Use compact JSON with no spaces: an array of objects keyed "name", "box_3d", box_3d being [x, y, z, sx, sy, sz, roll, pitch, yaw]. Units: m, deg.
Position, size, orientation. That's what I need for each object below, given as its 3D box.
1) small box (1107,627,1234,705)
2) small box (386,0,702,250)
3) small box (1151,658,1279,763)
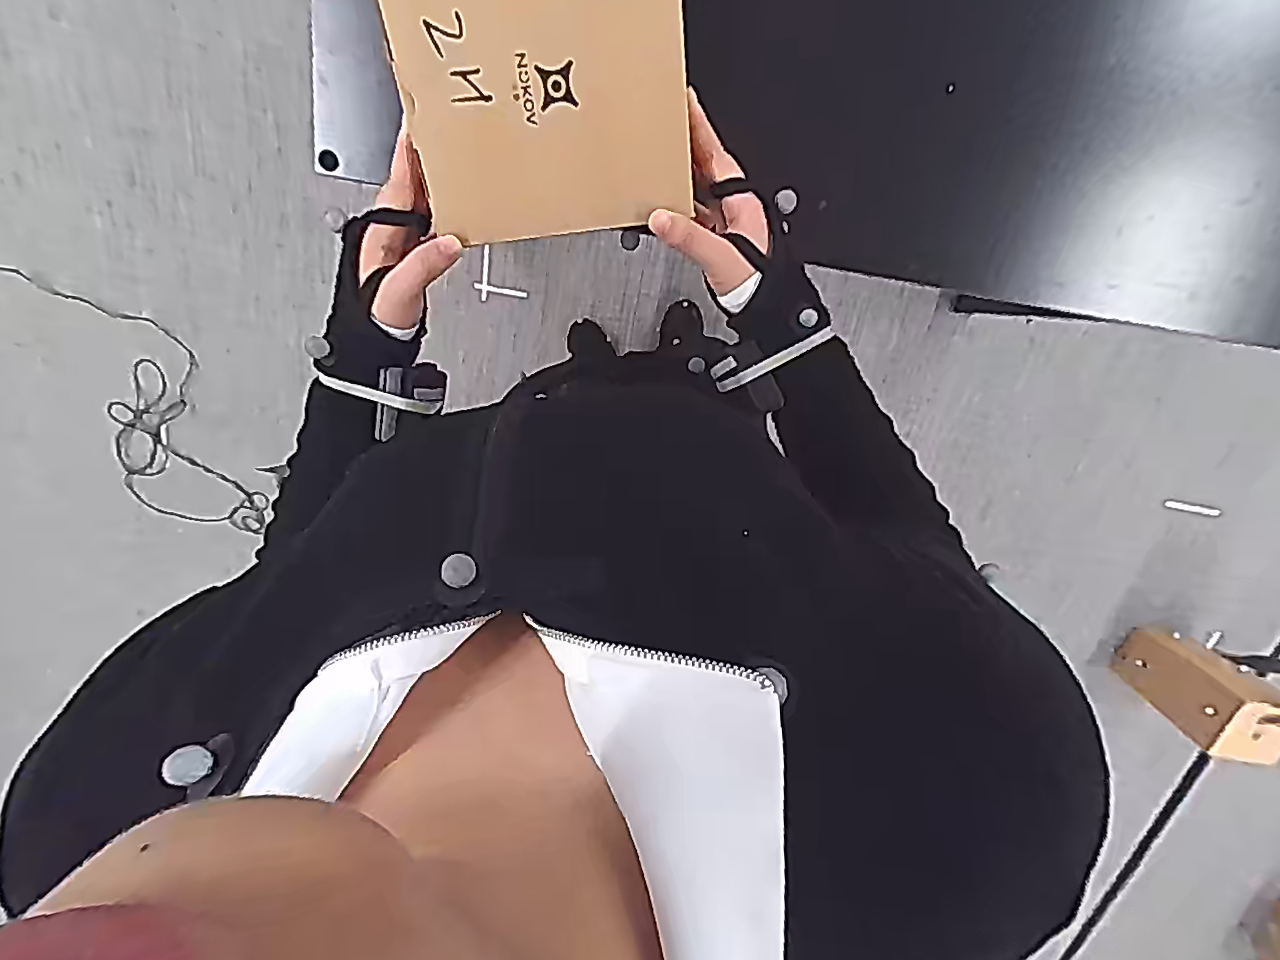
[{"name":"small box","box_3d":[1.525,0.549,1.567,0.179,0.176,0.168,13,109,-1]},{"name":"small box","box_3d":[-0.055,-0.273,0.398,0.179,0.176,0.168,-6,117,2]},{"name":"small box","box_3d":[1.504,0.592,1.407,0.168,0.176,0.179,10,110,-1]}]
